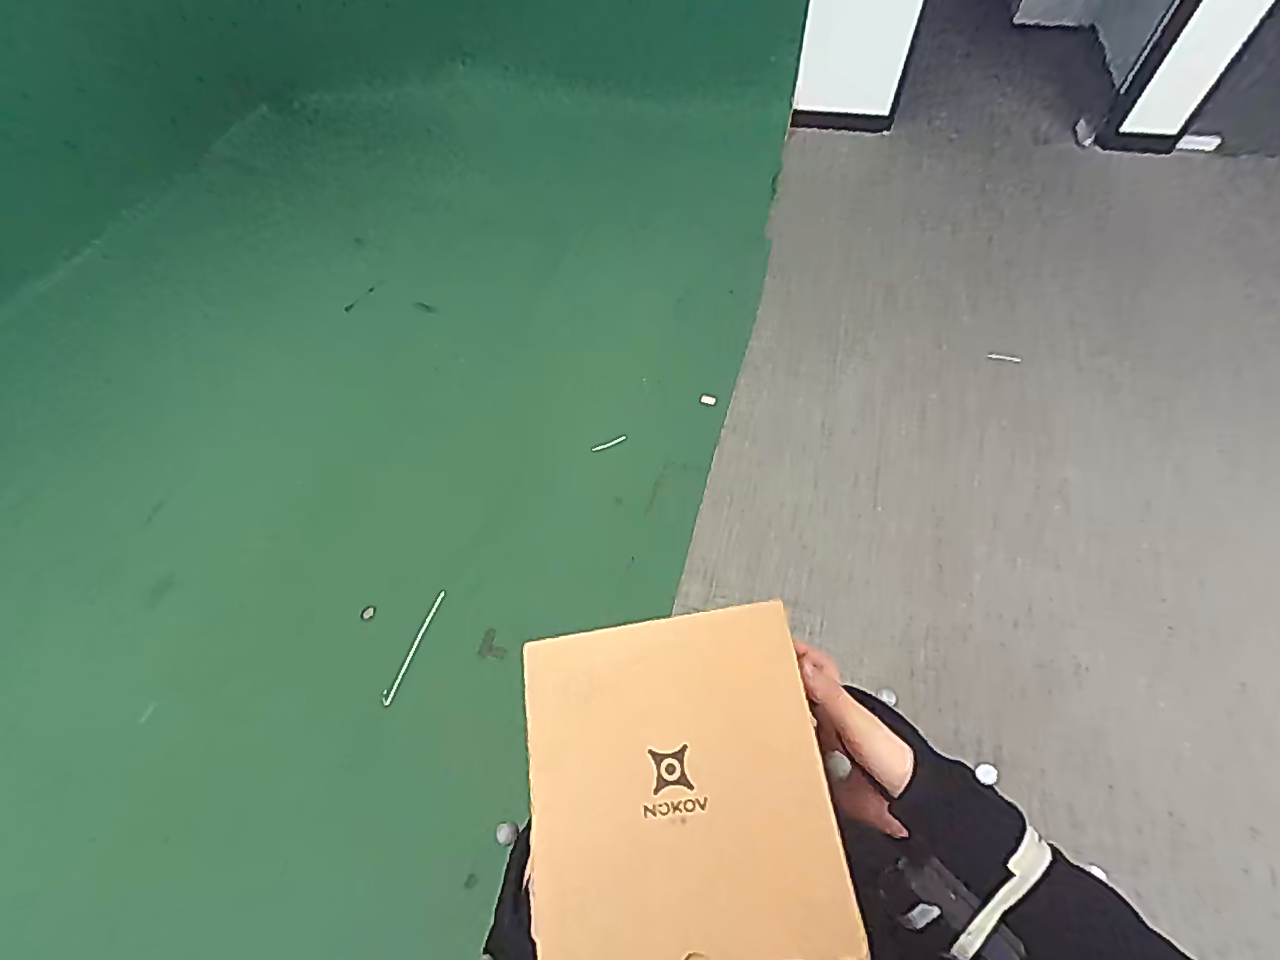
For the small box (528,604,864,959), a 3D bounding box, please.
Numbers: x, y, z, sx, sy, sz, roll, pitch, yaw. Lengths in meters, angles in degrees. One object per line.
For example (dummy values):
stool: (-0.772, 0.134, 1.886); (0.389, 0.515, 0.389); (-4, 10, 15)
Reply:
small box: (0.033, 0.200, 0.375); (0.168, 0.176, 0.179); (-12, 66, 7)
